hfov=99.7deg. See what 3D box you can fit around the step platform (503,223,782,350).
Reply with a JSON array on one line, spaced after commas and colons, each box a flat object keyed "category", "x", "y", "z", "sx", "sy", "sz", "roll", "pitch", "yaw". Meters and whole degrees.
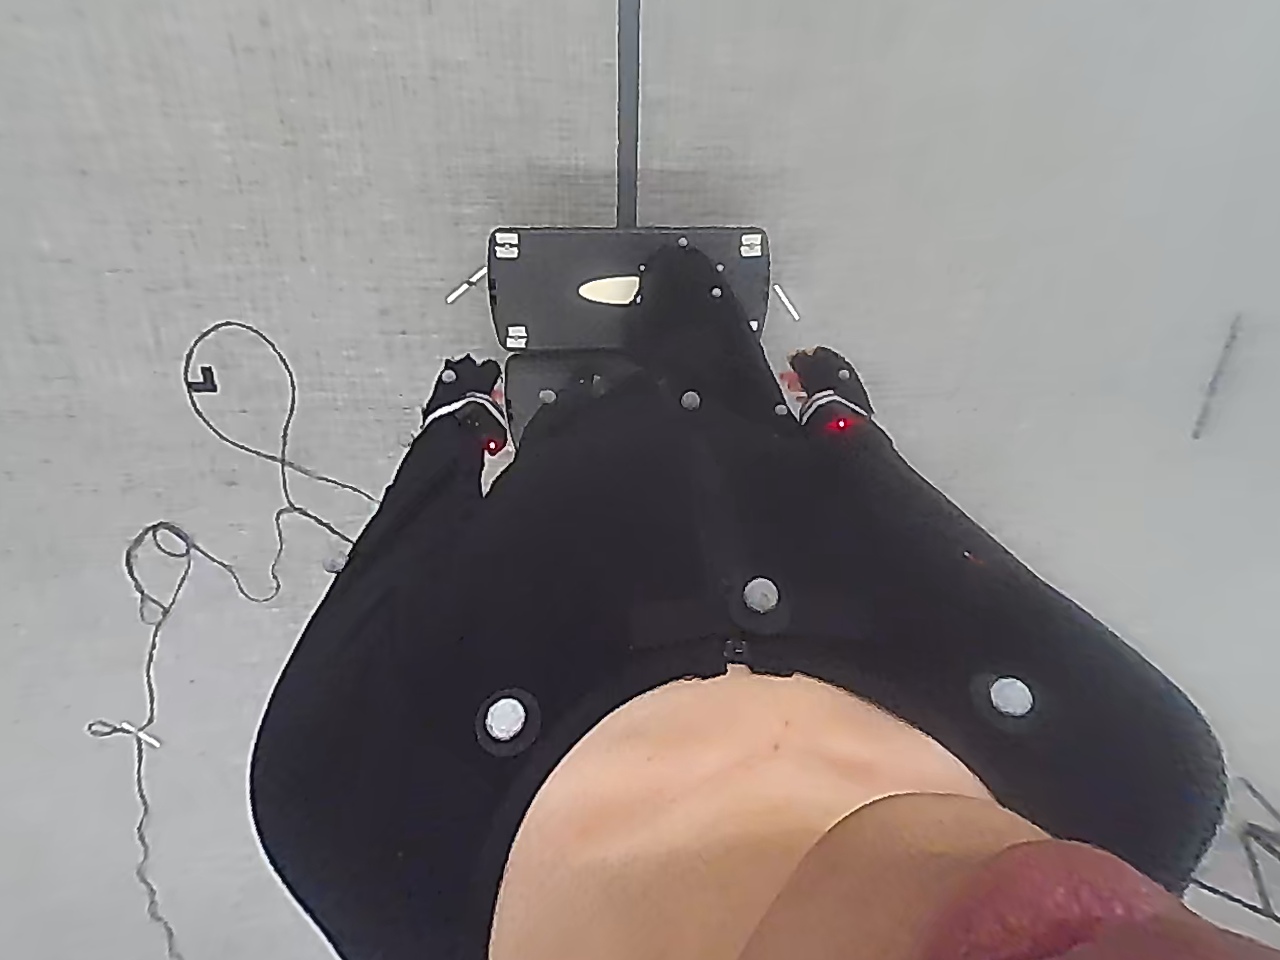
[{"category": "step platform", "x": 0.006, "y": -0.485, "z": 1.363, "sx": 0.684, "sy": 0.204, "sz": 0.286, "roll": -3, "pitch": 110, "yaw": -5}]
